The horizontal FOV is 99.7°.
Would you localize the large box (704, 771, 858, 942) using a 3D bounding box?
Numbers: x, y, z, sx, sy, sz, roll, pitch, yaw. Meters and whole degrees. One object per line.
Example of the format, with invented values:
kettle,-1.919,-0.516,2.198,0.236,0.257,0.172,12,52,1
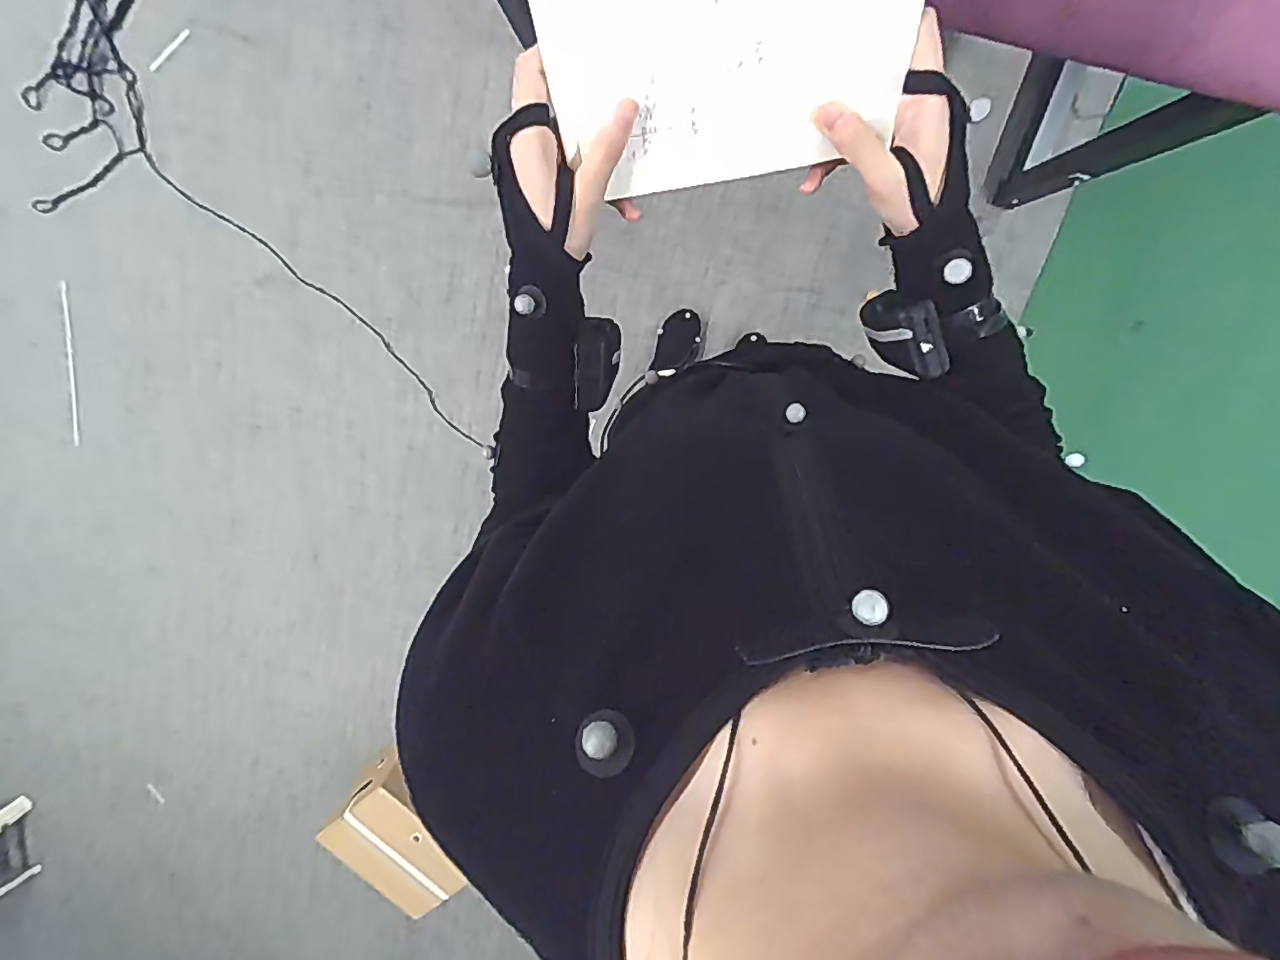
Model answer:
large box,0.406,1.141,1.663,0.408,0.320,0.320,0,106,3
